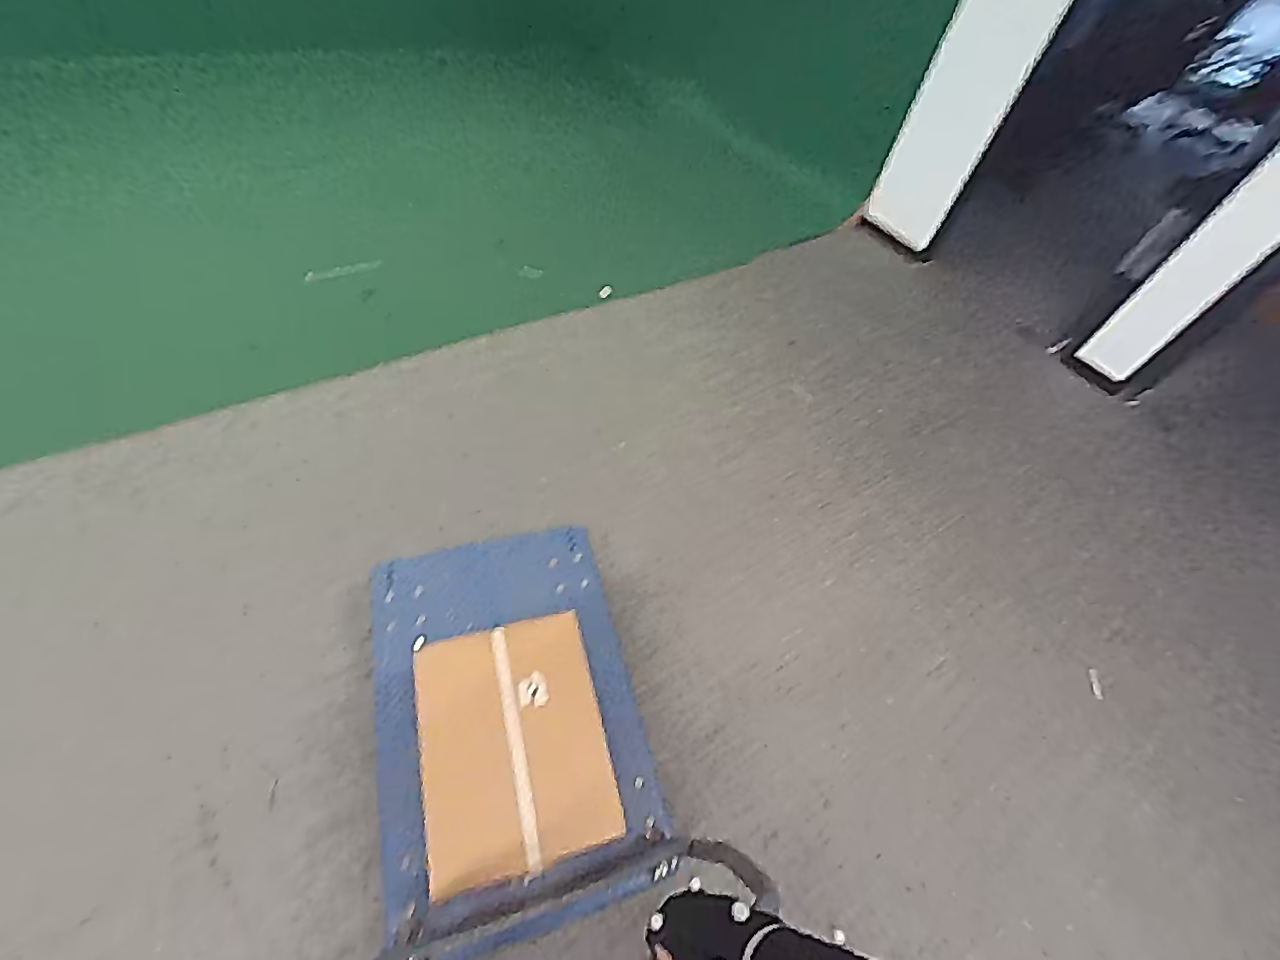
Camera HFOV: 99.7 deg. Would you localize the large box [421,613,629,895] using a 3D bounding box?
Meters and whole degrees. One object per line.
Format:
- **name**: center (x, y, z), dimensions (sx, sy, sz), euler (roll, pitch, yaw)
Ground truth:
- **large box**: center (-0.238, 0.546, 1.097), dimensions (0.320, 0.320, 0.408), euler (-9, 56, -16)
